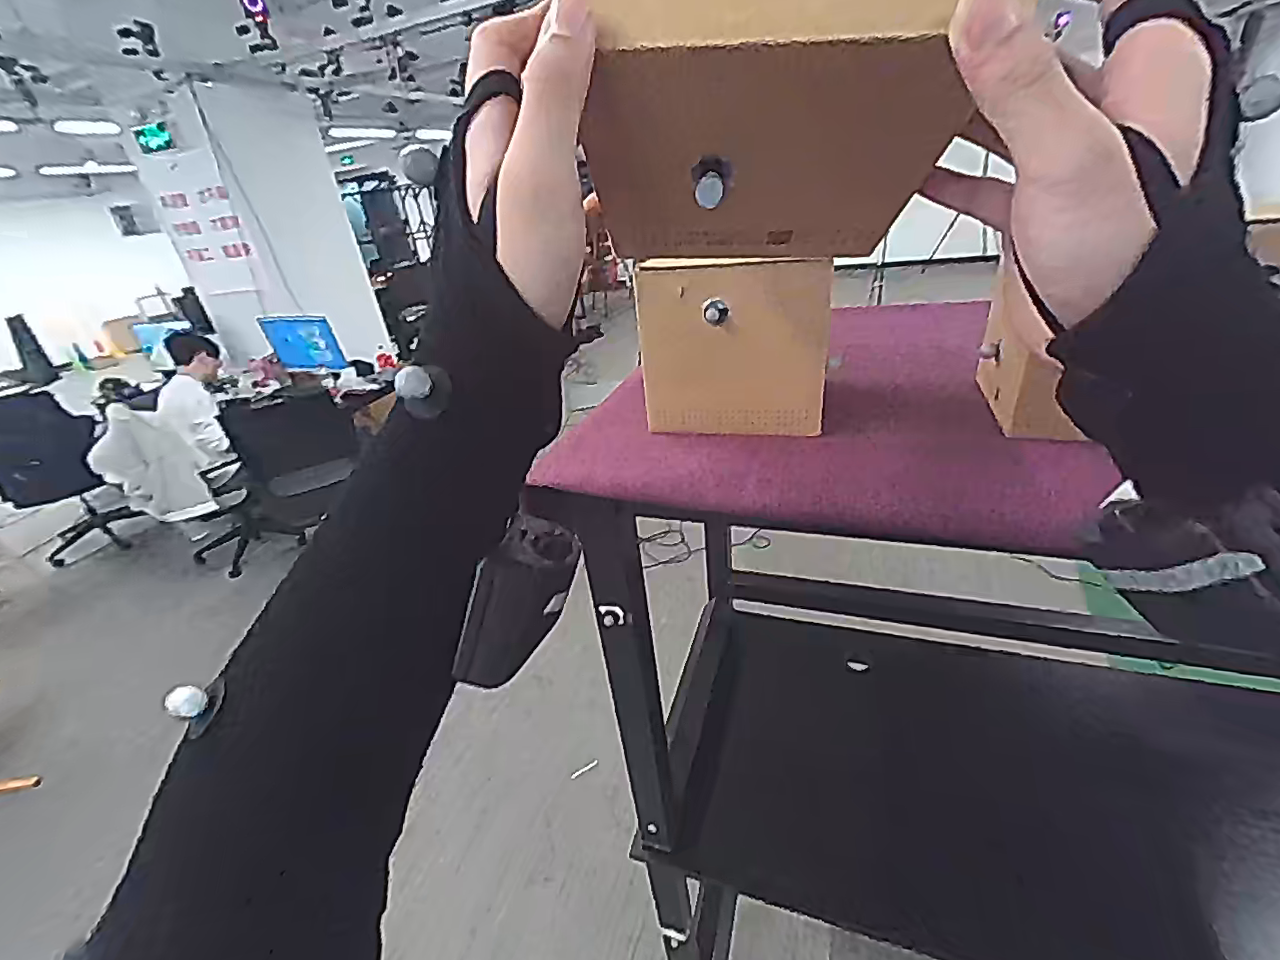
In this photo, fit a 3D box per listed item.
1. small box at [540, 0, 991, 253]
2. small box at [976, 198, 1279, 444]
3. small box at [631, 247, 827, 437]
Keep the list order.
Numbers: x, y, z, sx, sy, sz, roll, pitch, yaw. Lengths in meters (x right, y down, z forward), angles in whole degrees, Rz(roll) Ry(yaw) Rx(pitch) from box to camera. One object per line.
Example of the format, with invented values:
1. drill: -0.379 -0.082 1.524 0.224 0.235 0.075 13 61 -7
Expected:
1. small box: 0.056 -0.237 0.283 0.168 0.179 0.176 2 -5 7
2. small box: 0.419 -0.139 0.473 0.179 0.176 0.168 4 29 21
3. small box: 0.105 -0.154 0.579 0.179 0.176 0.168 3 30 17
